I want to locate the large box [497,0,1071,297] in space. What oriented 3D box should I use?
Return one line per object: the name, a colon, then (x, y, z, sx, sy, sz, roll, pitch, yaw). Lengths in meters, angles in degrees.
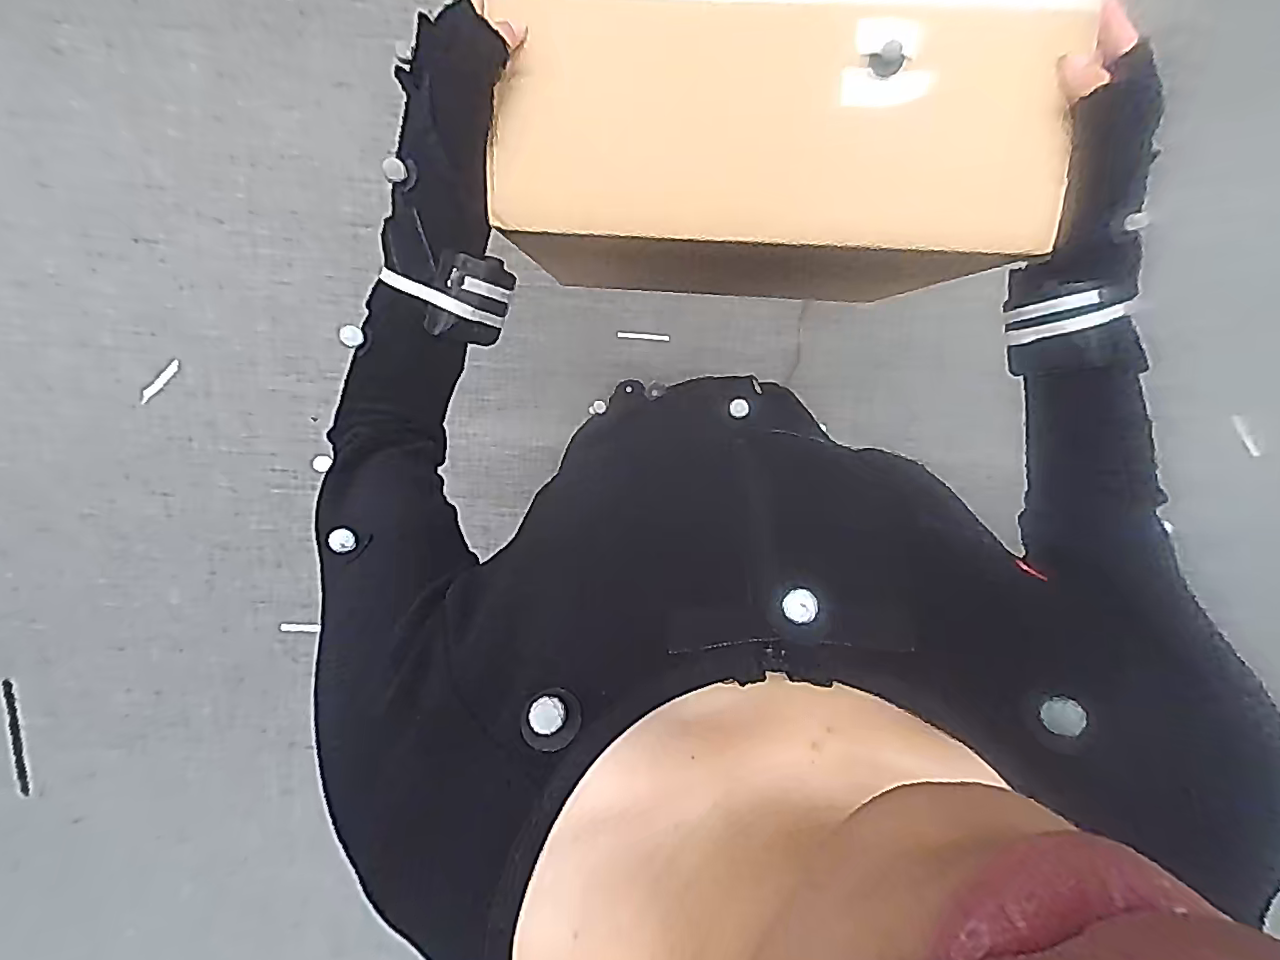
large box: (0.098, -0.360, 0.518, 0.408, 0.320, 0.320, 3, 102, 0)
